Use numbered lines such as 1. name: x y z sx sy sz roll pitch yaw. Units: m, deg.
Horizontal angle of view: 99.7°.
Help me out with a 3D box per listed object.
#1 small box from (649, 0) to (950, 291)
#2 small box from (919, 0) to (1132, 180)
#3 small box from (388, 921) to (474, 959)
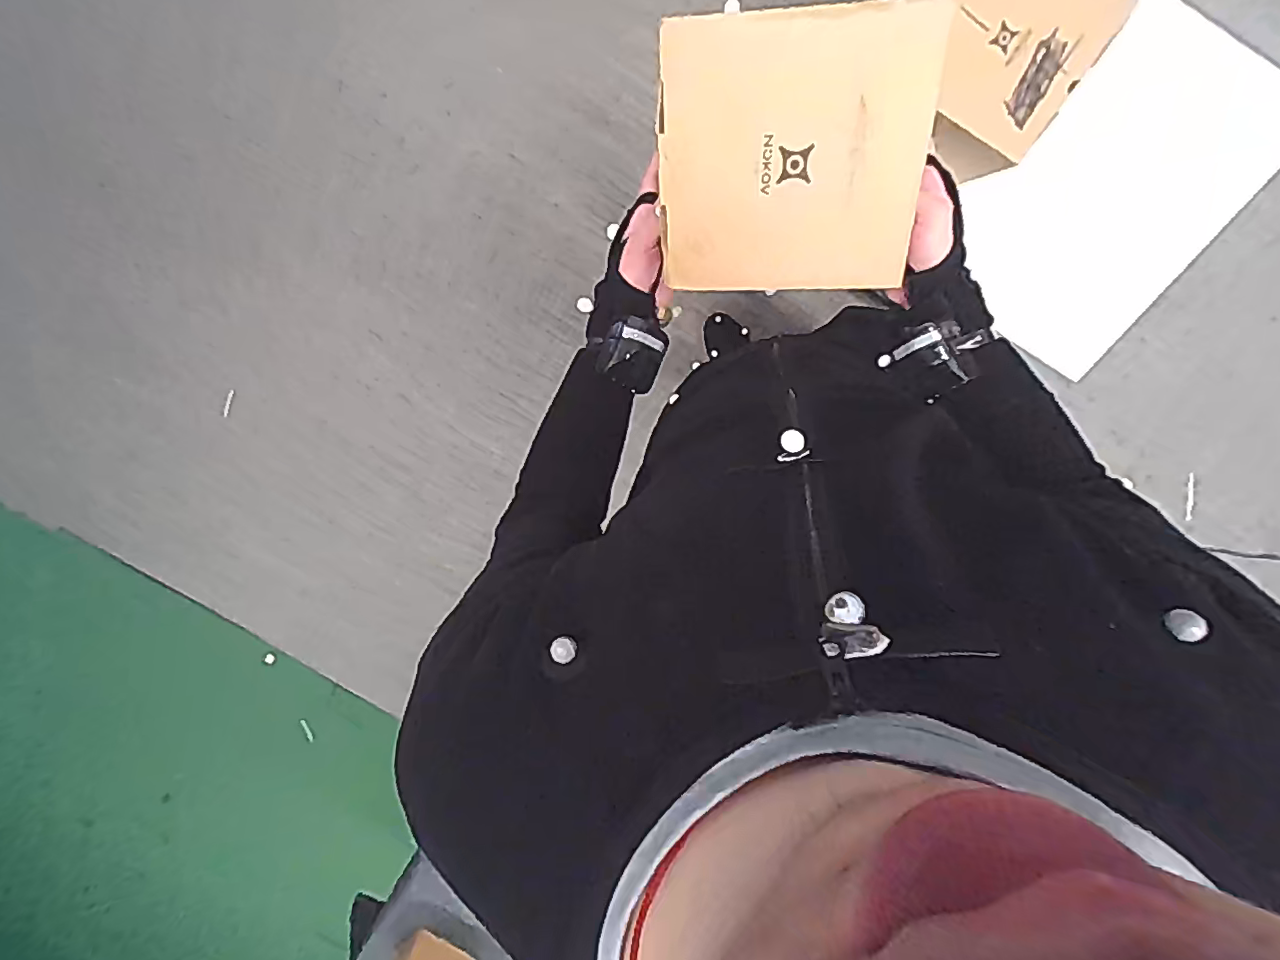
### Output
1. small box: 0.109 -0.256 0.429 0.179 0.176 0.168 1 125 9
2. small box: 0.396 -0.483 0.641 0.179 0.176 0.168 31 113 -3
3. small box: -0.545 1.254 1.346 0.179 0.176 0.168 35 112 -7
